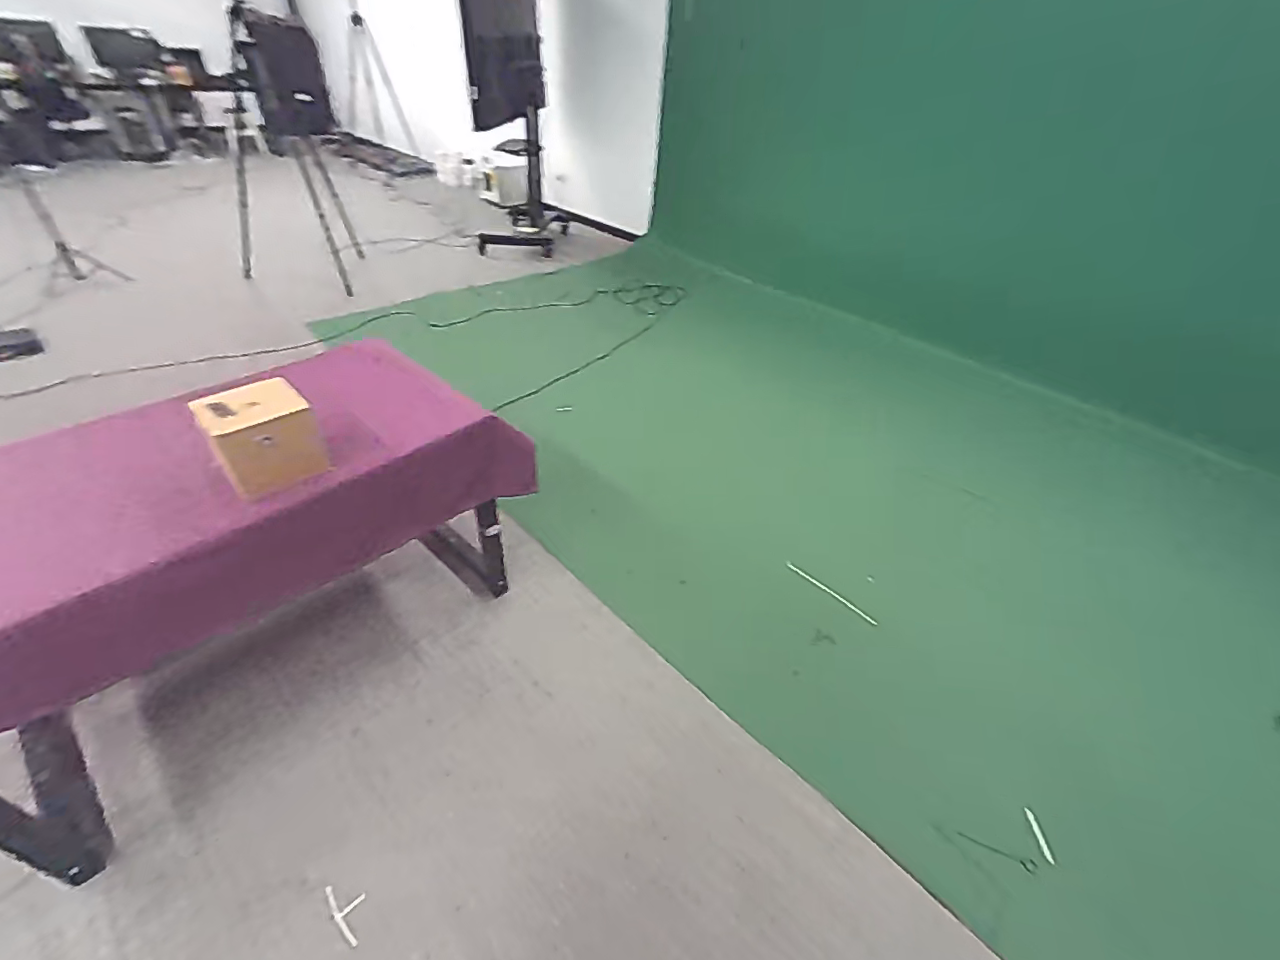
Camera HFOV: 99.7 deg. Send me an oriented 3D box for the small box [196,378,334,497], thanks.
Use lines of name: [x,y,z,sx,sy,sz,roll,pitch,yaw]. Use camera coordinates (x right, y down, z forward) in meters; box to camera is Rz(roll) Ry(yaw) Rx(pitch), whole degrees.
small box: [-0.797,-0.092,1.163,0.168,0.176,0.179,34,47,30]
